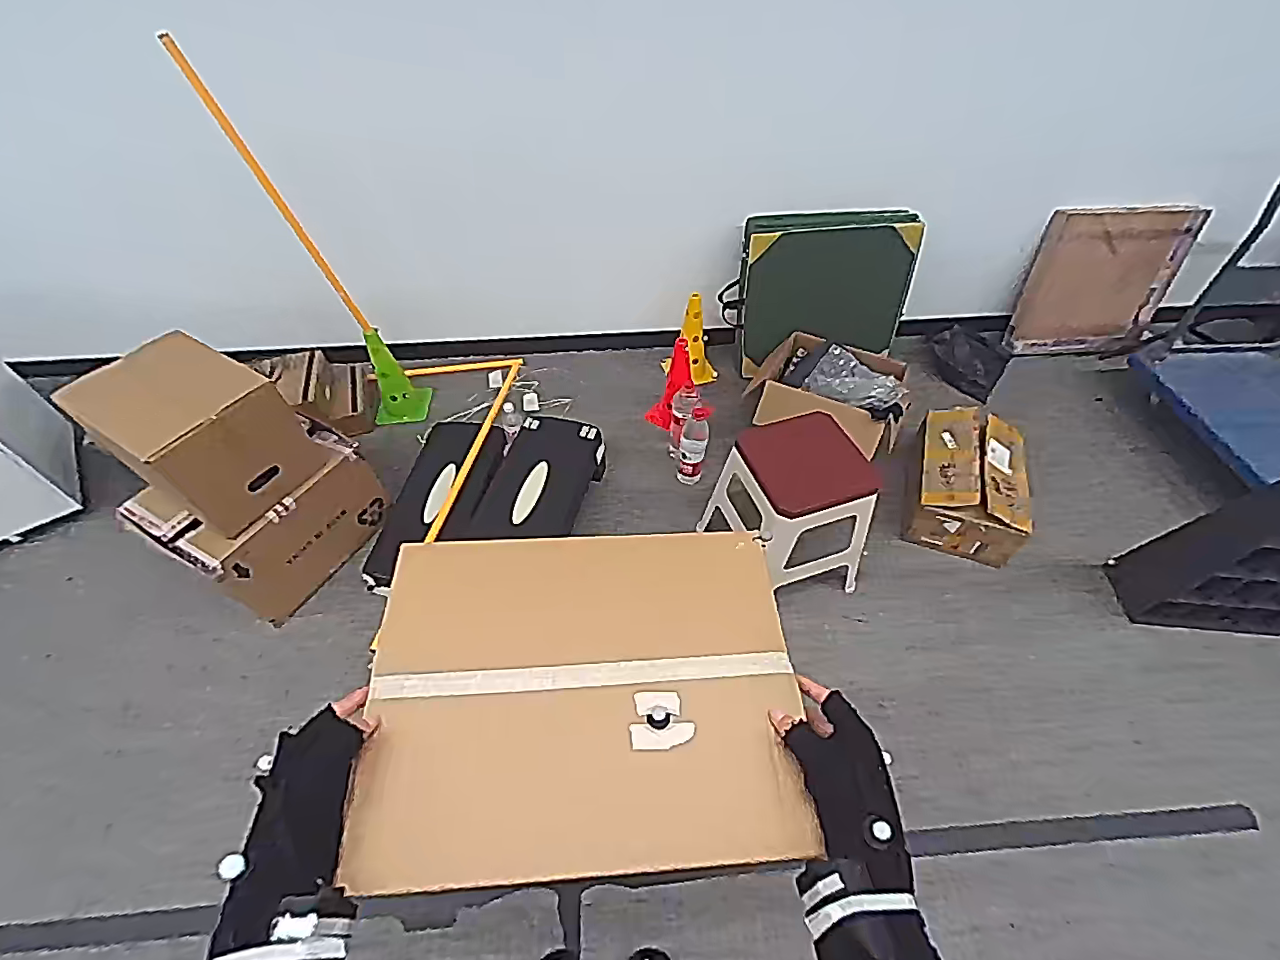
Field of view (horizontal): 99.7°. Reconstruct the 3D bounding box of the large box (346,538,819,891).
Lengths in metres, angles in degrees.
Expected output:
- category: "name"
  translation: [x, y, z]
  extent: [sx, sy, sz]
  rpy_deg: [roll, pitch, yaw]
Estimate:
- category: "large box"
  translation: [-0.060, 0.286, 0.655]
  extent: [0.408, 0.320, 0.320]
  rpy_deg: [-1, 53, -4]
